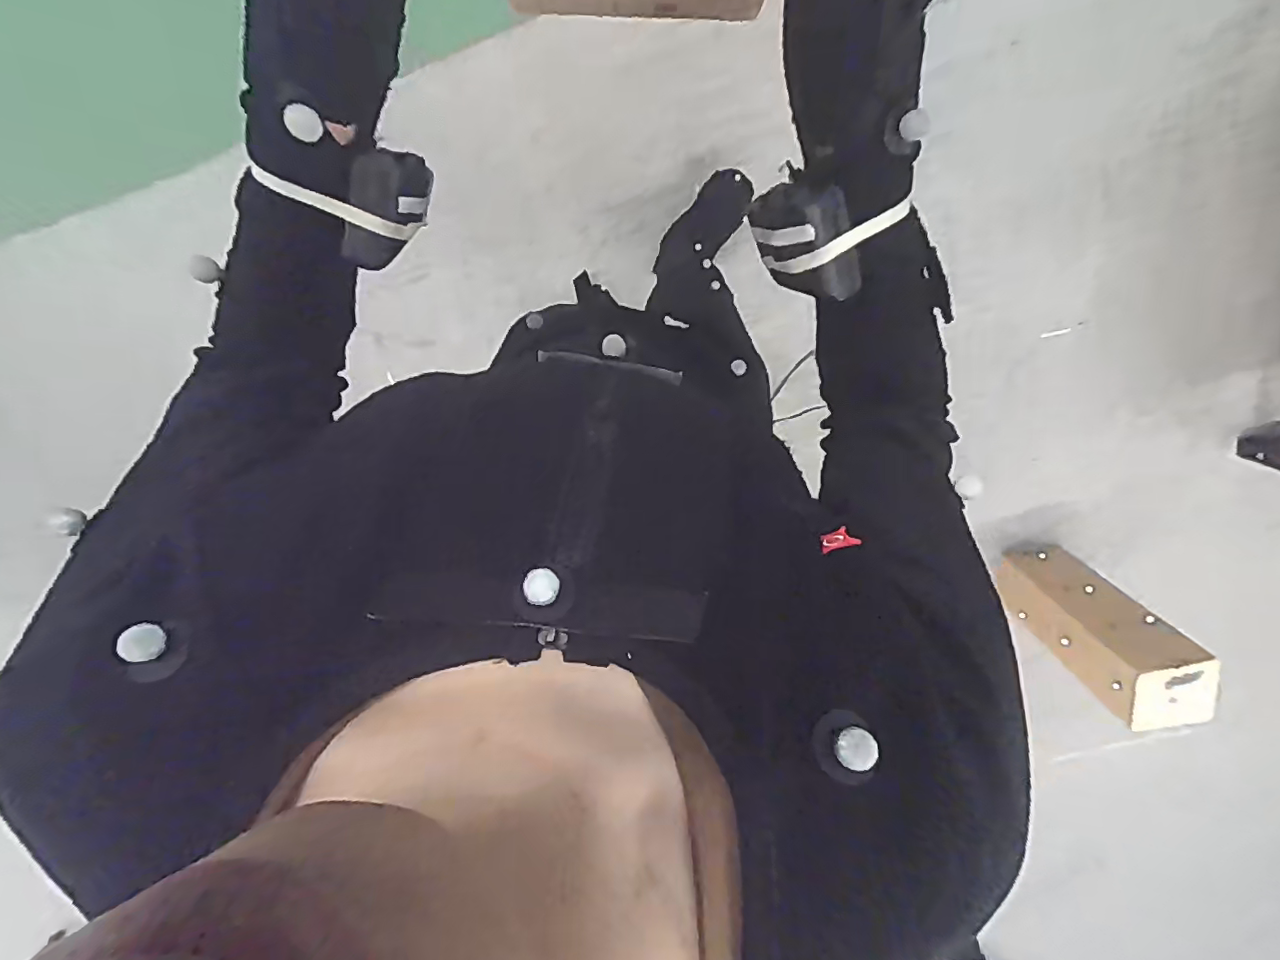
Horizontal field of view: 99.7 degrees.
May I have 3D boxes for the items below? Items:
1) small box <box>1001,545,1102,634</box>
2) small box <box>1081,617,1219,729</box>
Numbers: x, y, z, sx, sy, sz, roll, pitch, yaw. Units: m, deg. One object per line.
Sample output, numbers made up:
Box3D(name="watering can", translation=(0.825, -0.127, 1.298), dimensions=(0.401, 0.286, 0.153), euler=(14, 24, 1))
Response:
Box3D(name="small box", translation=(1.172, 0.312, 1.554), dimensions=(0.168, 0.176, 0.179), euler=(-12, 111, 6))
Box3D(name="small box", translation=(1.167, 0.436, 1.252), dimensions=(0.168, 0.176, 0.179), euler=(-13, 112, 7))
